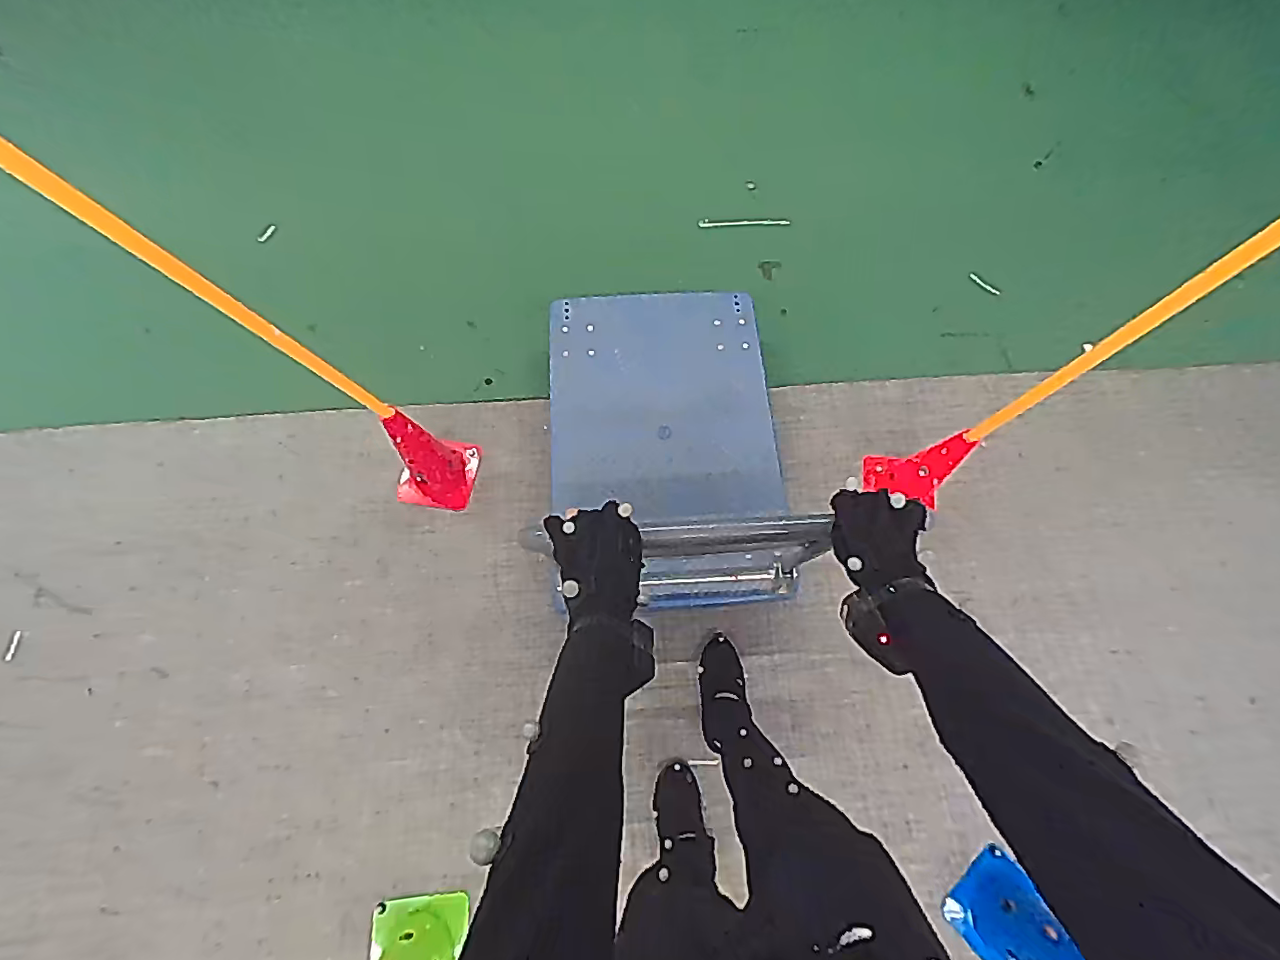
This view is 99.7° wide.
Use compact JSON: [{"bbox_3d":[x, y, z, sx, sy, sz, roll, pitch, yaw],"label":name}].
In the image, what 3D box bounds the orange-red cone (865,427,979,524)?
[{"bbox_3d":[0.730,-0.037,1.353,0.198,0.360,0.199,7,70,3],"label":"orange-red cone"}]
